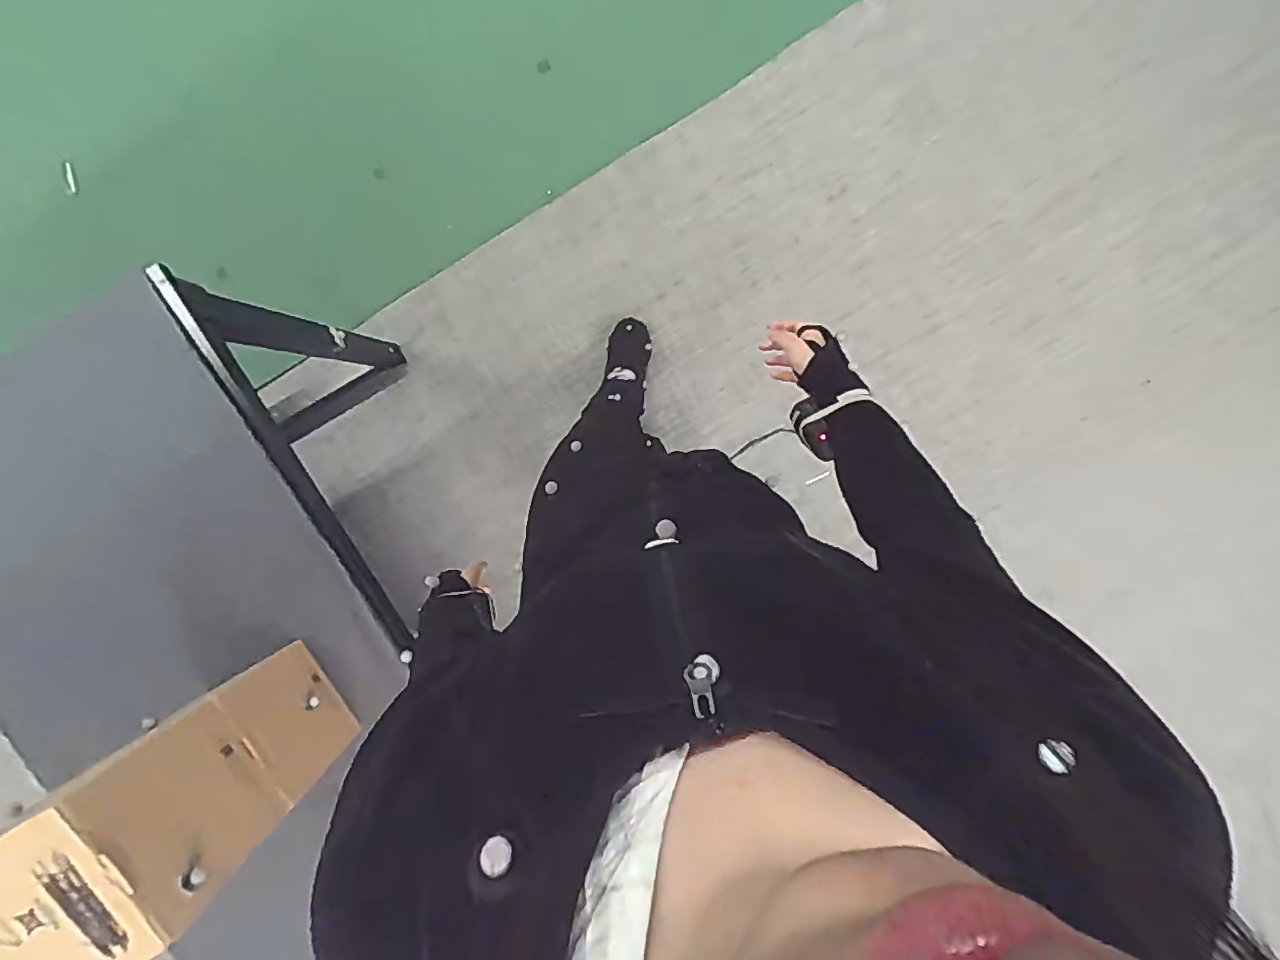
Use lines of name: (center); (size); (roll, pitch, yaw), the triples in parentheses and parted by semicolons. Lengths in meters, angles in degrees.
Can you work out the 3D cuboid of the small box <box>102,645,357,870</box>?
small box: (-0.530, 0.358, 0.727); (0.179, 0.176, 0.168); (-30, 97, 4)
